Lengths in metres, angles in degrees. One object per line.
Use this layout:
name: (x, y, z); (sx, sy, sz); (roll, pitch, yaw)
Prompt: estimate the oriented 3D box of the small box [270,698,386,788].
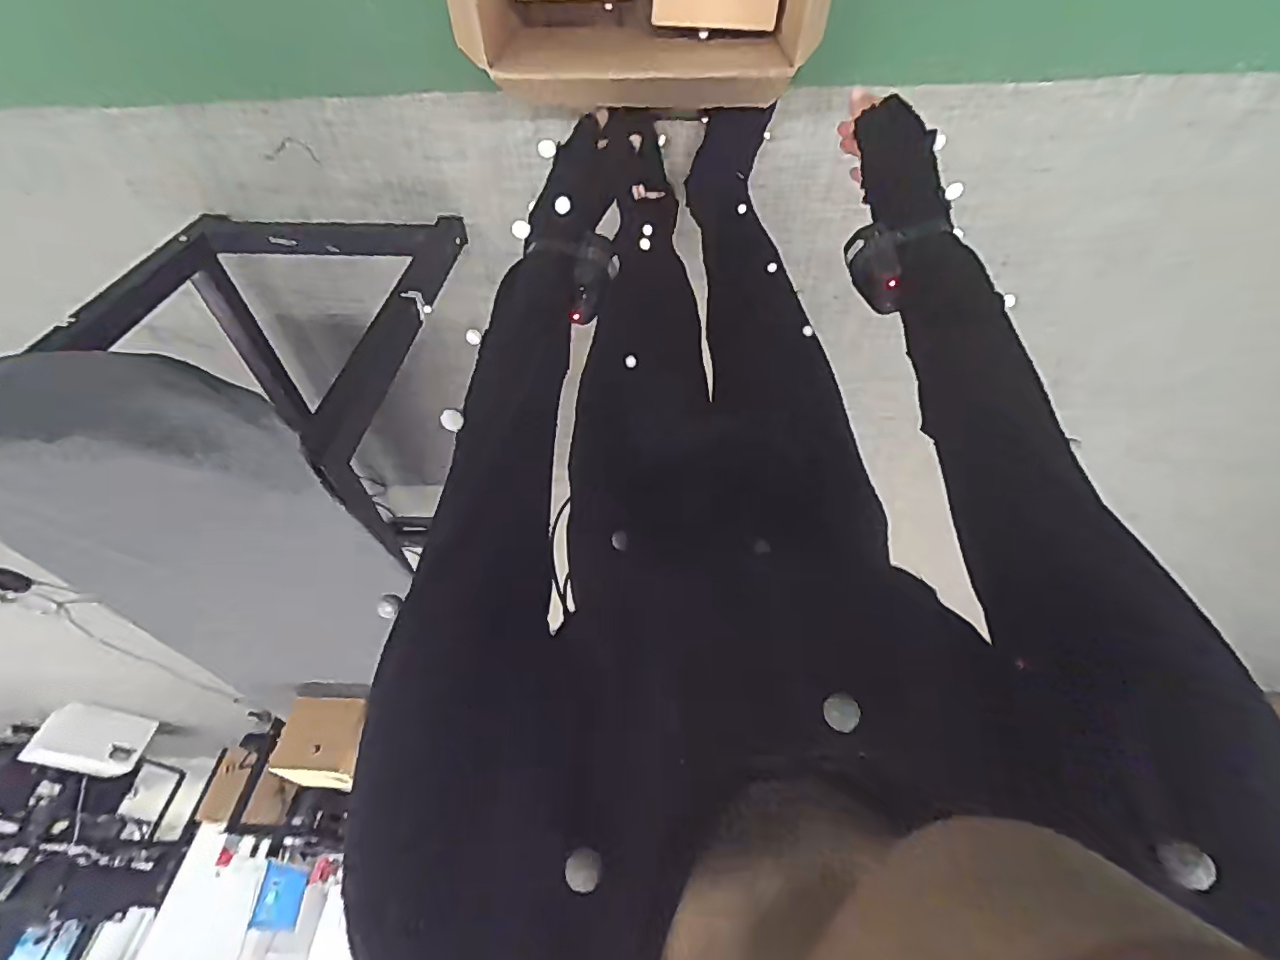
small box: (-0.761, 0.654, 1.347); (0.179, 0.176, 0.168); (1, 139, 4)
